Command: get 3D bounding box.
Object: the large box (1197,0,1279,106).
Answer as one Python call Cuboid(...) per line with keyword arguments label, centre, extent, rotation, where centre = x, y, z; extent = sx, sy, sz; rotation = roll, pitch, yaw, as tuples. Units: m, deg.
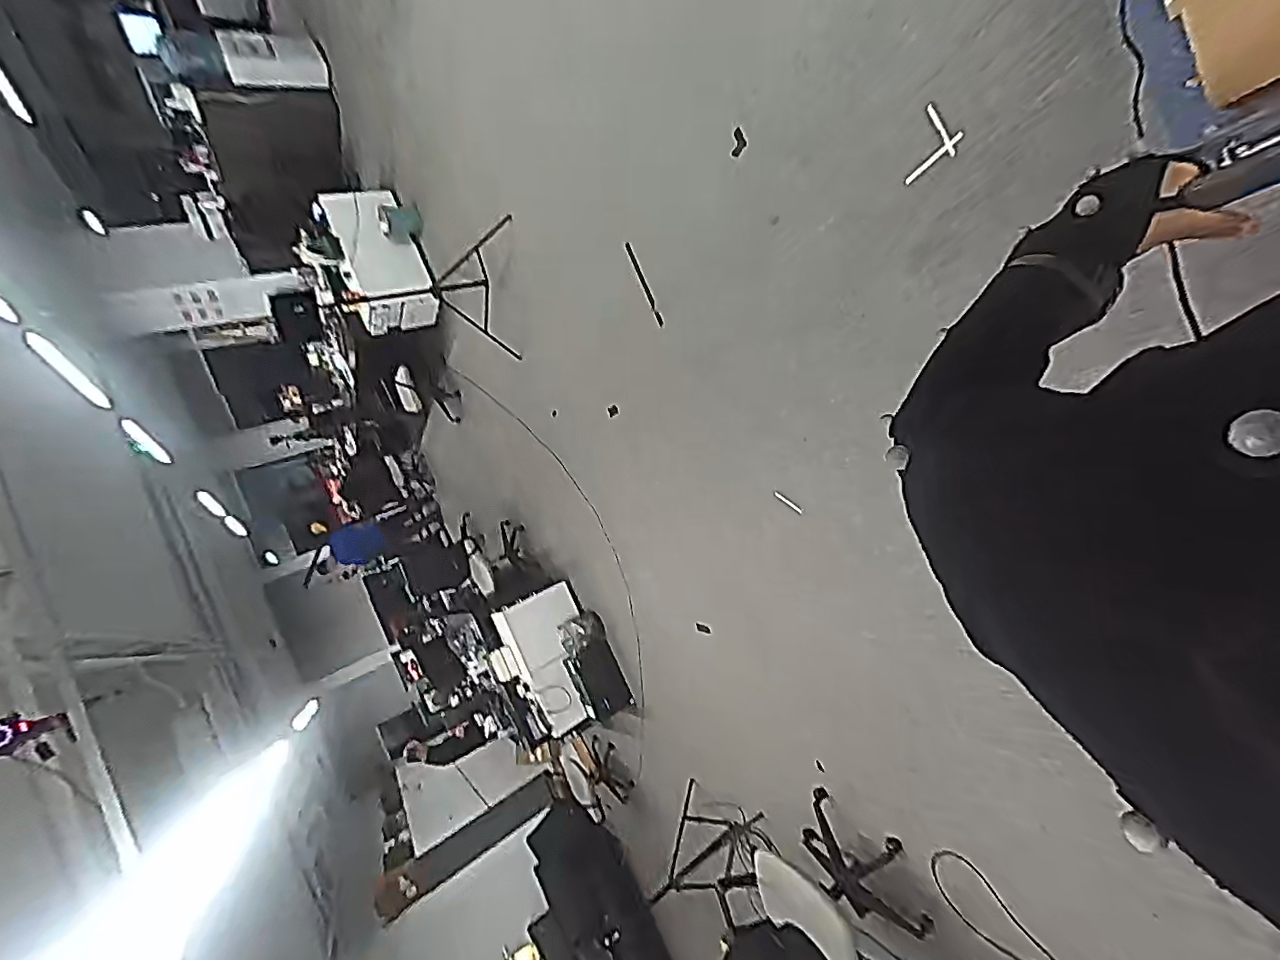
Cuboid(label="large box", centre=(0.870, -0.677, 0.554), extent=(0.408, 0.320, 0.320), rotation=(-16, 96, 59))
